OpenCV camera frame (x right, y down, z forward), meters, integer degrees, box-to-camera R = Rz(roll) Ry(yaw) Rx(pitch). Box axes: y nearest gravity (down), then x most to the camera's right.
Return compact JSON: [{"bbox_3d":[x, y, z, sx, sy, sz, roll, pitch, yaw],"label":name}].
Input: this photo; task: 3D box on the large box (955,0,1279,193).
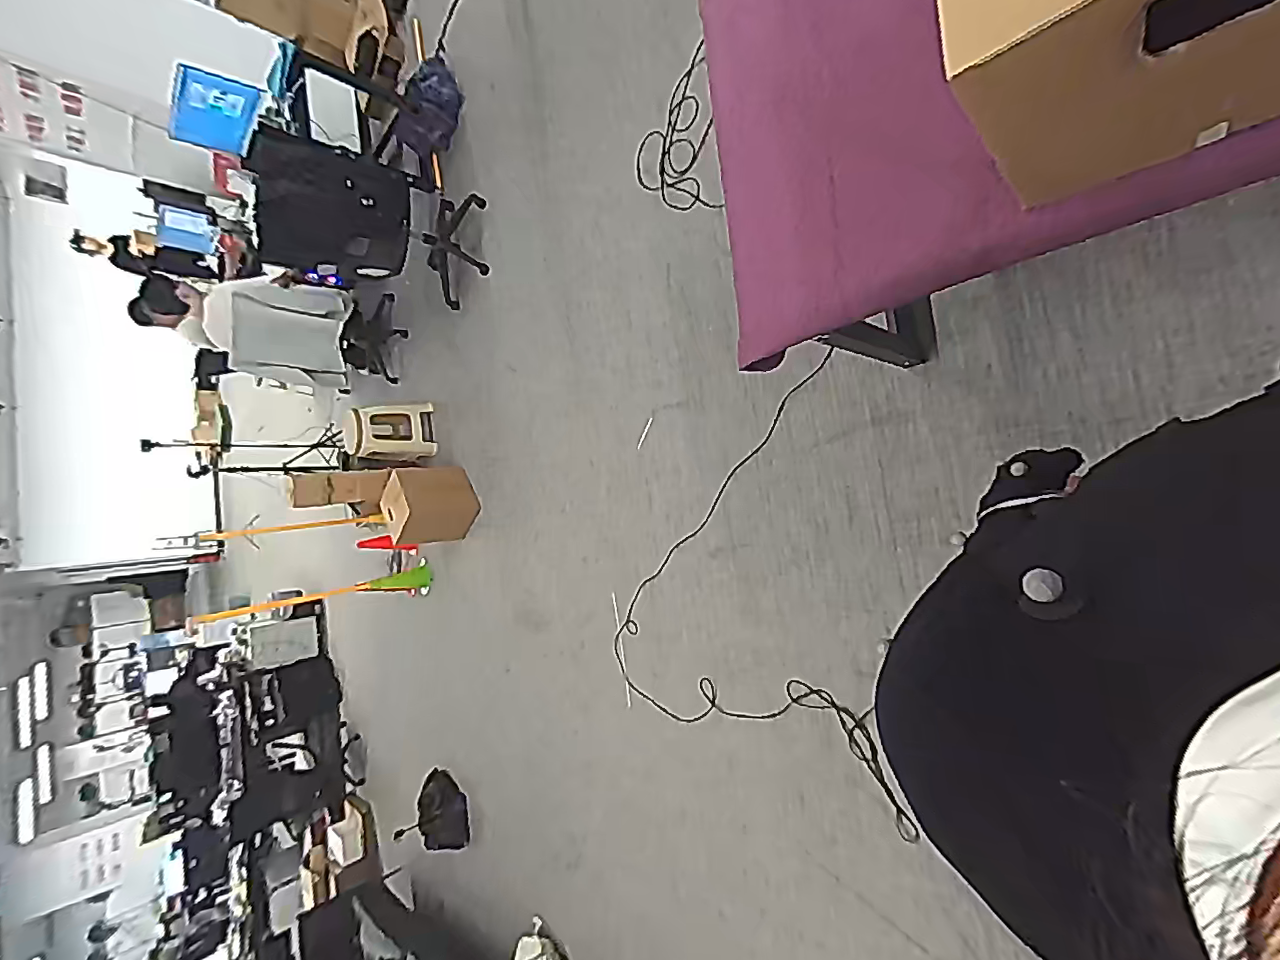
[{"bbox_3d":[0.455,-0.545,0.447,0.320,0.320,0.408,-7,87,45],"label":"large box"}]
